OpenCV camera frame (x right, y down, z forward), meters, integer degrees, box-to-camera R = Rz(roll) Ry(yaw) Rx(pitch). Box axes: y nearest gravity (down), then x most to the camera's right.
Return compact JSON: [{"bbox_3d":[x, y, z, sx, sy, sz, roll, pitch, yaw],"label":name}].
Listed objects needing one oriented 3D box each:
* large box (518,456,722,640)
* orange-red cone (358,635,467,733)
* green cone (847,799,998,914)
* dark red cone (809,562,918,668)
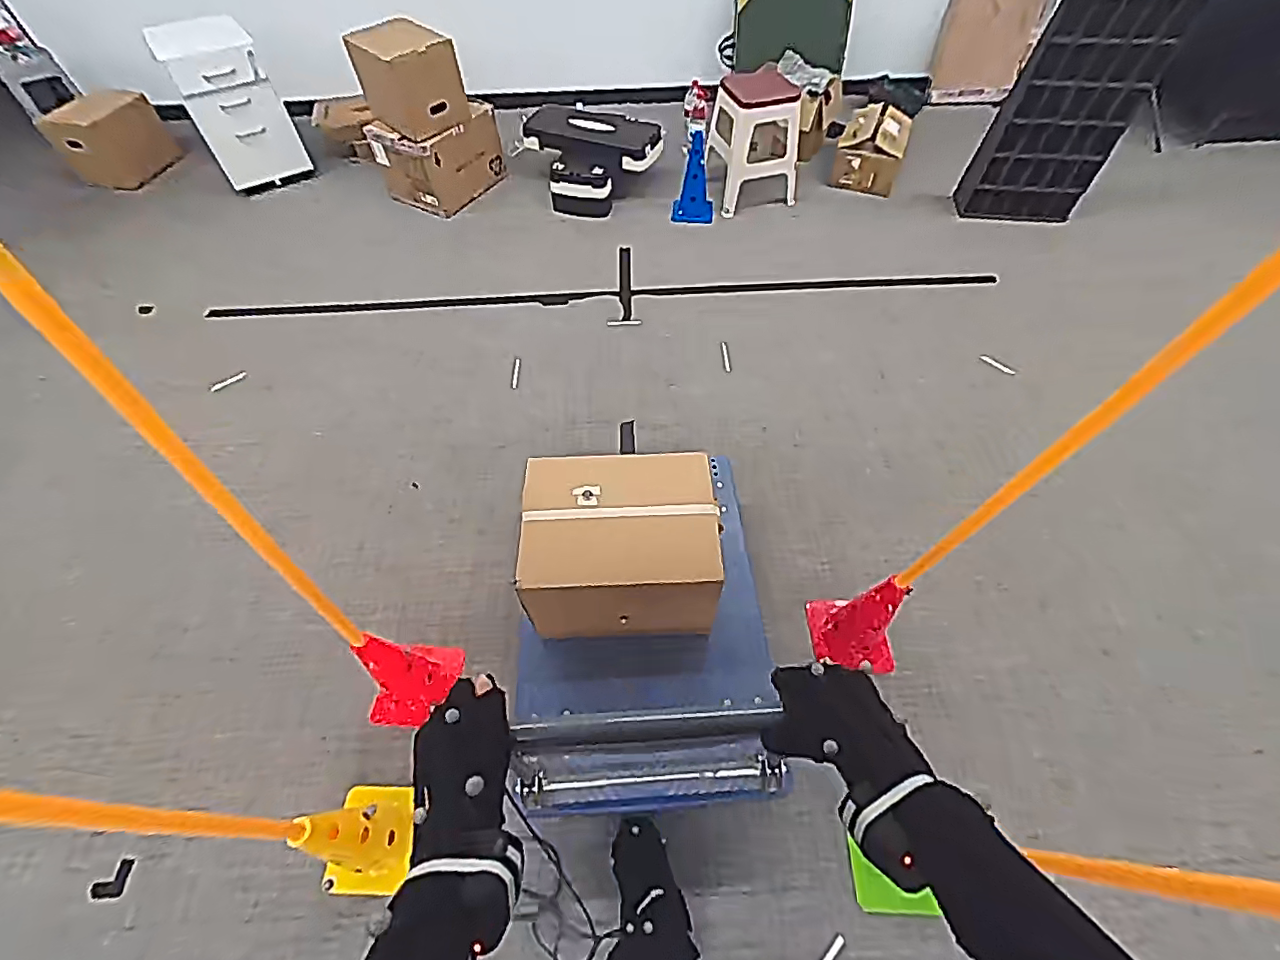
[{"bbox_3d":[-0.040,0.166,1.251,0.408,0.320,0.320,-3,55,0],"label":"large box"},{"bbox_3d":[-0.564,0.436,1.256,0.198,0.360,0.199,4,54,3],"label":"orange-red cone"},{"bbox_3d":[0.560,0.710,1.029,0.202,0.368,0.200,1,55,1],"label":"green cone"},{"bbox_3d":[0.562,0.303,1.294,0.201,0.394,0.202,-1,55,-2],"label":"dark red cone"}]
